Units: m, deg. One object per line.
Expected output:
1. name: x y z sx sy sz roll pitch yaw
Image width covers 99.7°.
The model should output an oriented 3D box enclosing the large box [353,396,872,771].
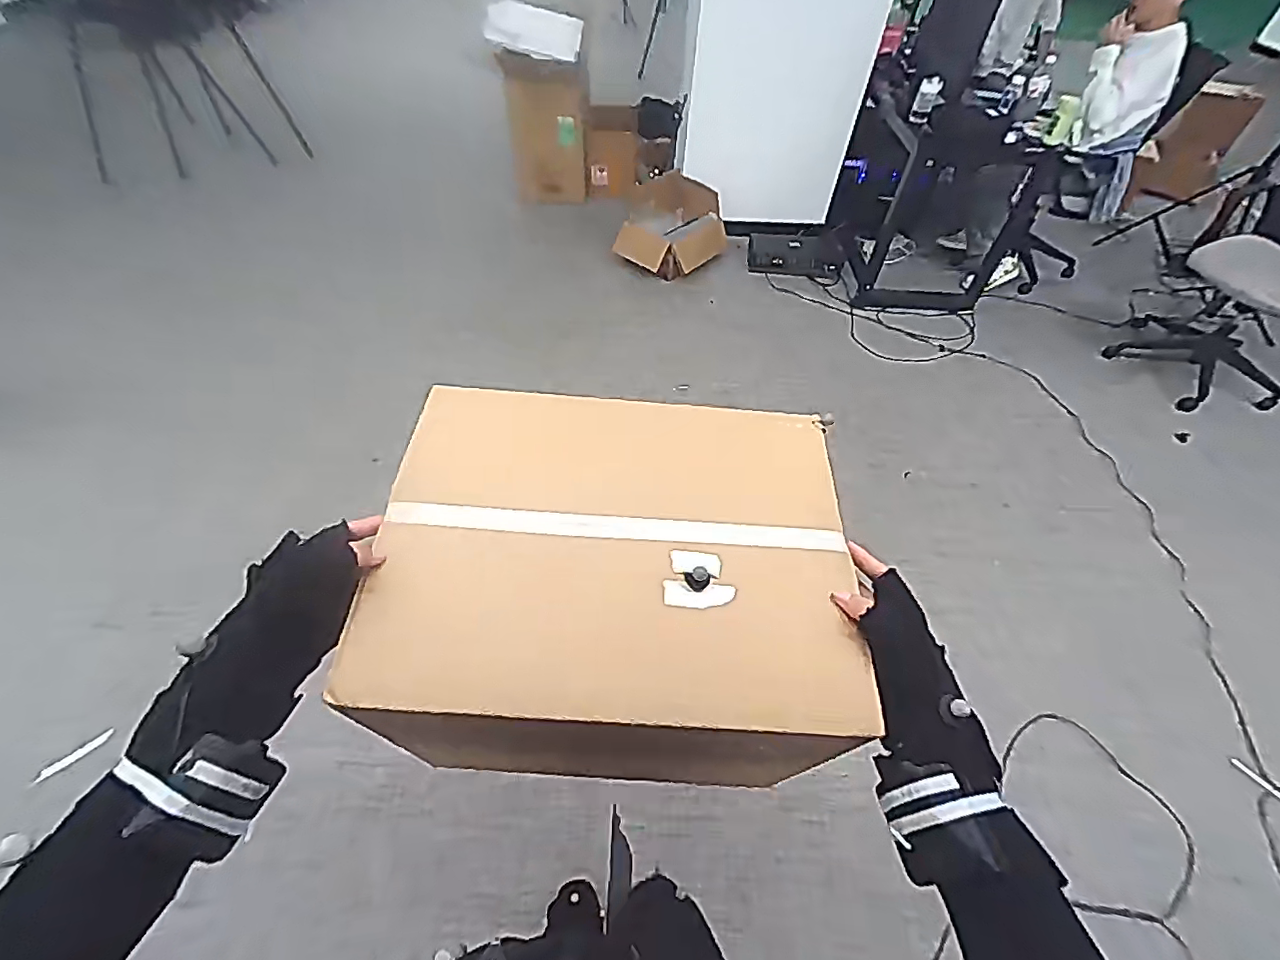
1. large box: -0.026 0.132 0.613 0.408 0.320 0.320 4 55 -2
